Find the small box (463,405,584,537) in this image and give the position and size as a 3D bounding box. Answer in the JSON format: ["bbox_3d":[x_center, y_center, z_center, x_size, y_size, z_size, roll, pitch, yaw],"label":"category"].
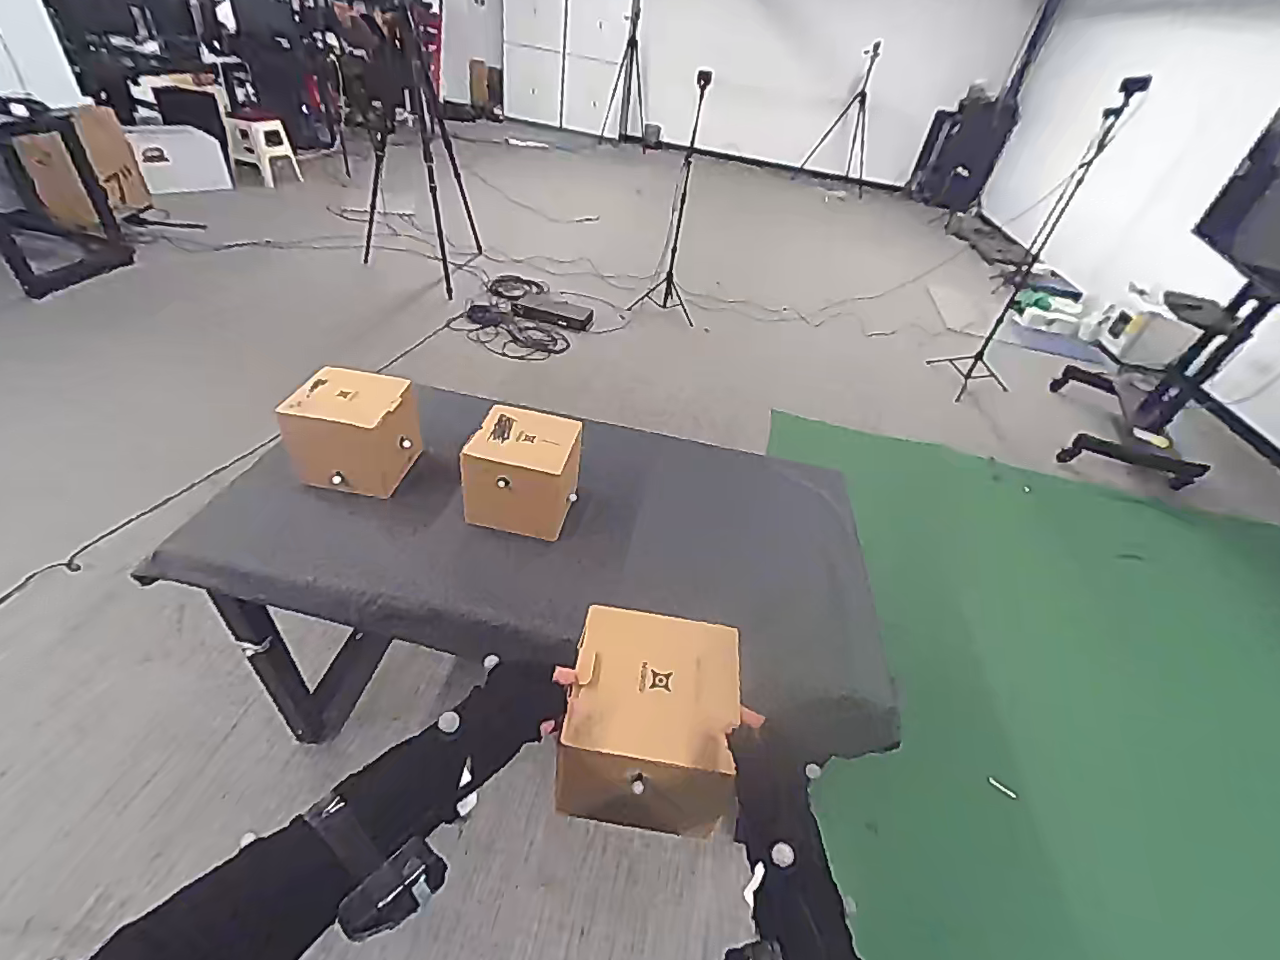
[{"bbox_3d":[-0.215,-0.015,1.023,0.179,0.176,0.168,12,40,1],"label":"small box"}]

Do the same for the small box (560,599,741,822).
[{"bbox_3d":[0.009,0.265,0.620,0.179,0.176,0.168,10,39,0],"label":"small box"}]

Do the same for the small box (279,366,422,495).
[{"bbox_3d":[-0.539,-0.092,1.041,0.179,0.176,0.168,11,40,-1],"label":"small box"}]
